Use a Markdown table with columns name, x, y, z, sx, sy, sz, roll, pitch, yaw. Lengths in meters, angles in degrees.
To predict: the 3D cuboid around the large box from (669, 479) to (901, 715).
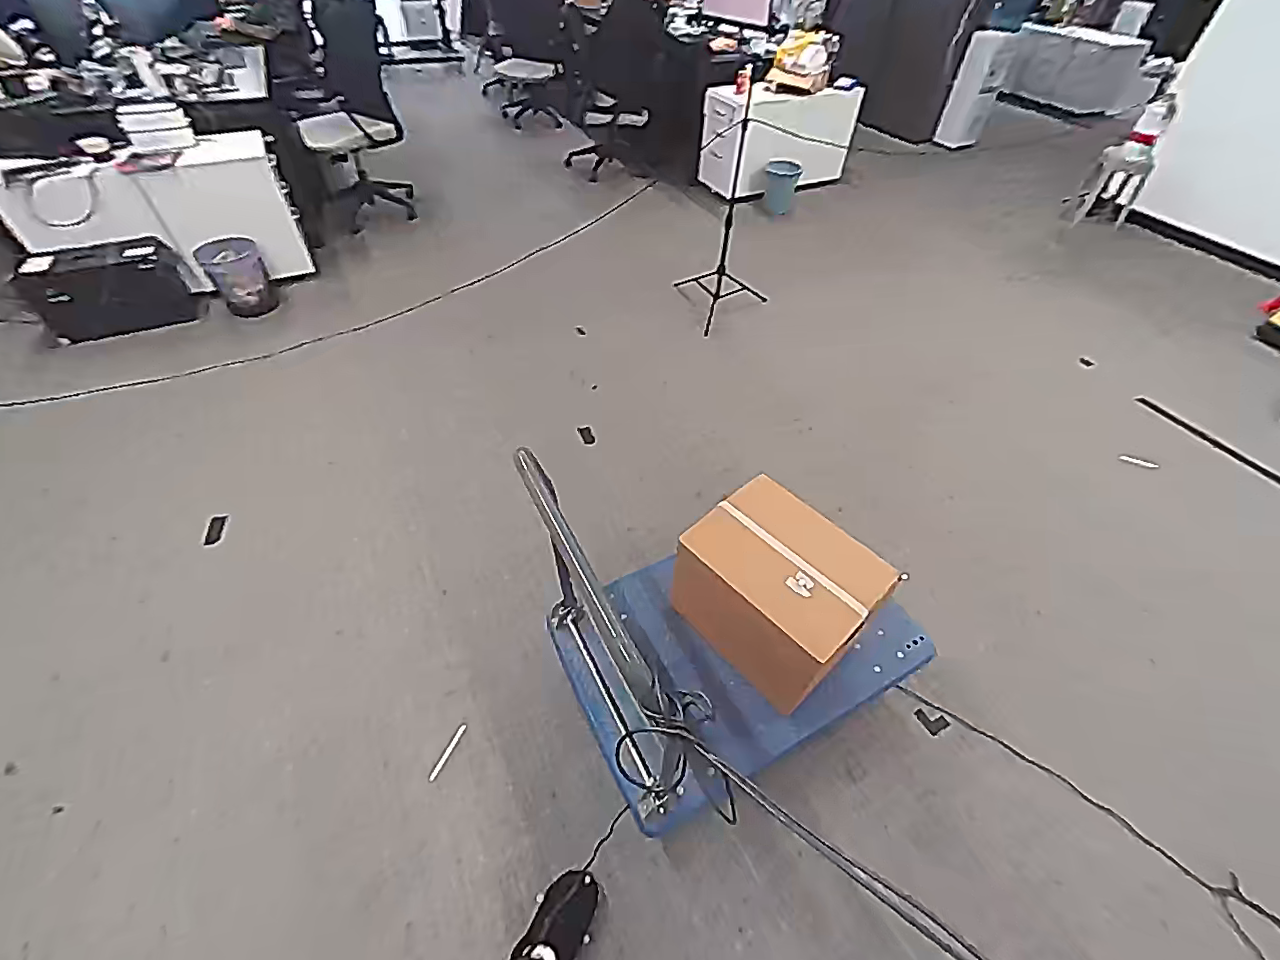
| name | x | y | z | sx | sy | sz | roll | pitch | yaw |
| --- | --- | --- | --- | --- | --- | --- | --- | --- | --- |
| large box | 0.325 | 0.276 | 1.322 | 0.320 | 0.320 | 0.408 | -34 | 58 | -28 |
